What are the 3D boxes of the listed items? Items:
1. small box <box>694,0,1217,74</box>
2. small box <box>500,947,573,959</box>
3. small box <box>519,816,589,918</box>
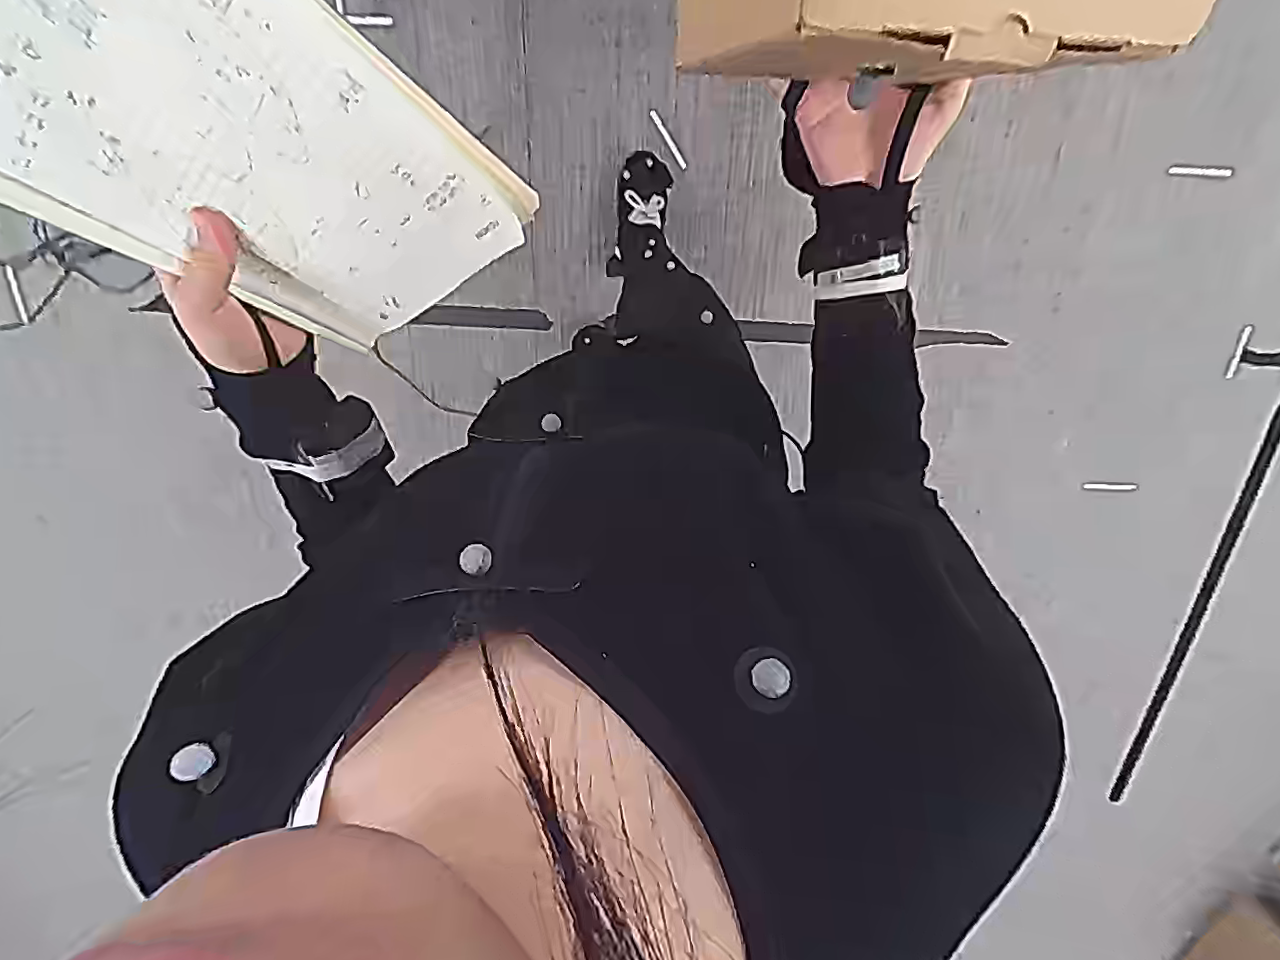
[{"bbox_3d":[0.124,-0.276,0.215,0.168,0.176,0.179,-5,124,-11],"label":"small box"},{"bbox_3d":[-0.232,1.162,1.169,0.168,0.176,0.179,1,110,-2],"label":"small box"},{"bbox_3d":[-0.228,1.050,1.478,0.168,0.176,0.179,-1,111,0],"label":"small box"}]
